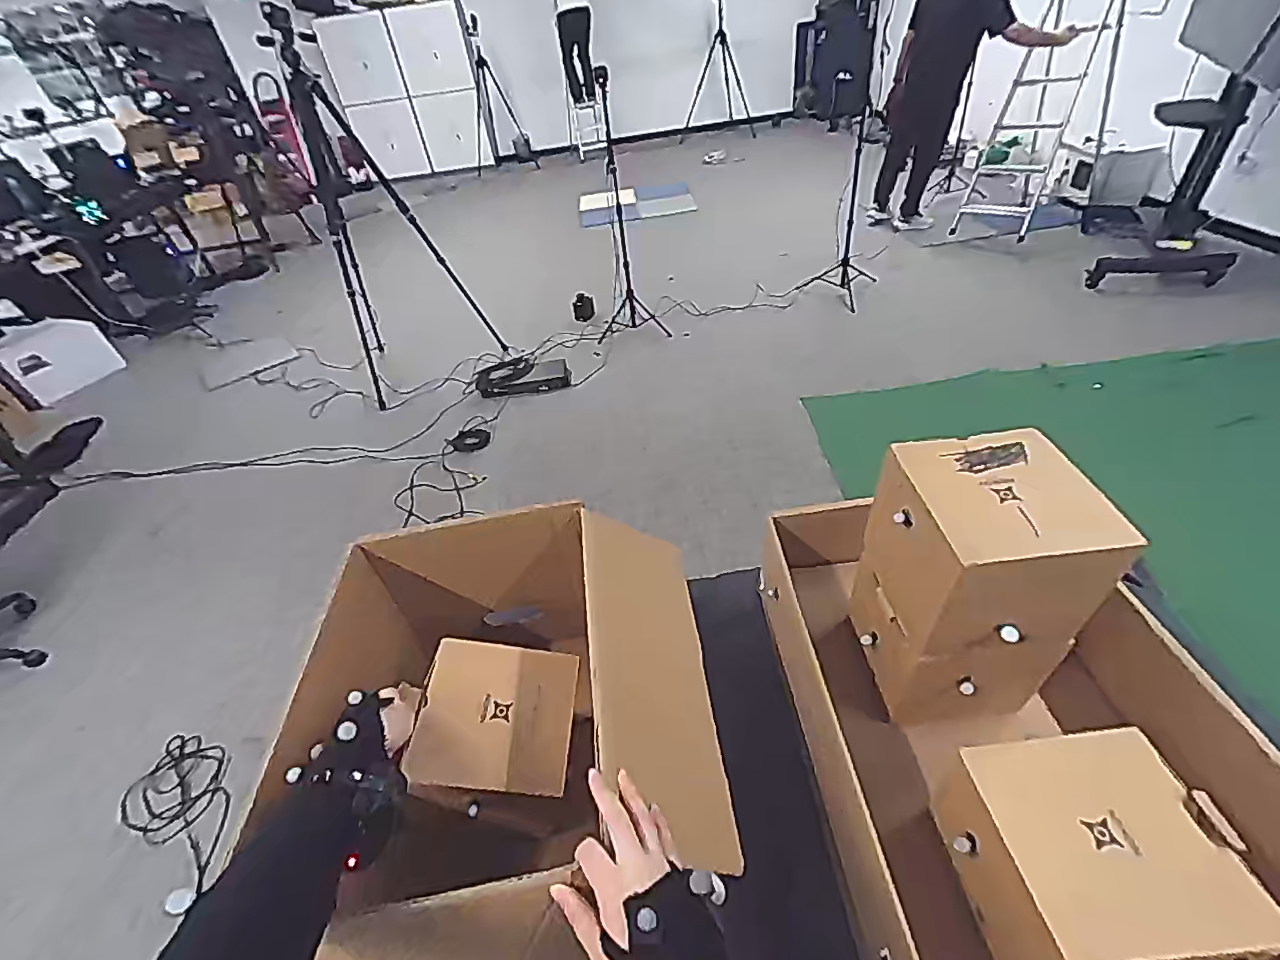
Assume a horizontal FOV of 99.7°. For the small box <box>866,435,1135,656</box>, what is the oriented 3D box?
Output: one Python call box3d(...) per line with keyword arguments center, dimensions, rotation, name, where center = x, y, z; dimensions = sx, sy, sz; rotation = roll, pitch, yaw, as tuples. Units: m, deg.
box3d(center=(0.374, 0.073, 0.608), dimensions=(0.168, 0.176, 0.179), rotation=(-7, 44, 2), name="small box")
